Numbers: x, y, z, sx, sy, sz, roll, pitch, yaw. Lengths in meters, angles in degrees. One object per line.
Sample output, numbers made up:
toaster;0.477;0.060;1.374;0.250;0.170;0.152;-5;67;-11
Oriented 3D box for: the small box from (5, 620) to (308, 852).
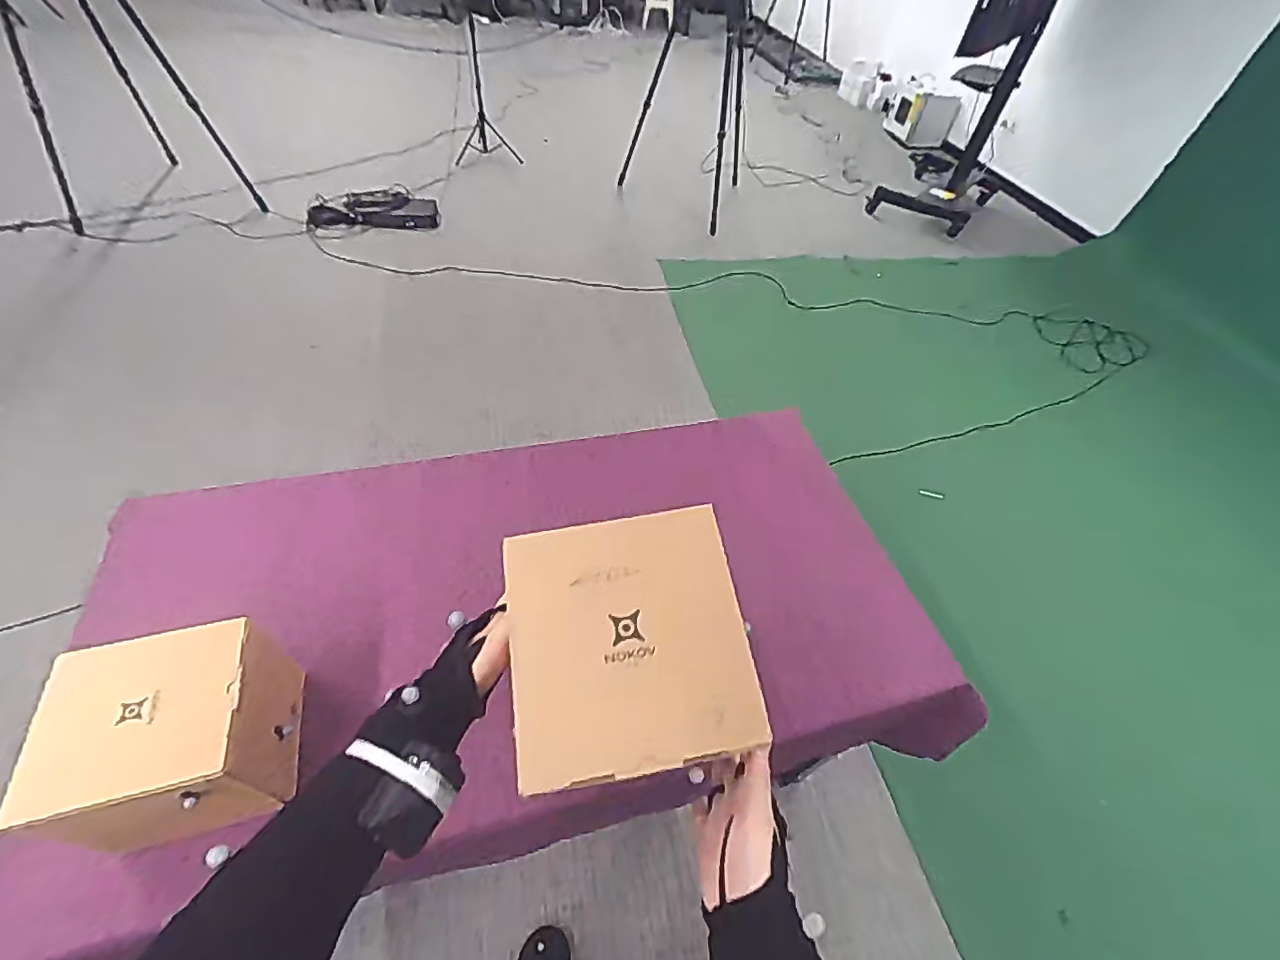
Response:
small box;-0.502;0.285;0.600;0.179;0.176;0.168;-10;51;-16
